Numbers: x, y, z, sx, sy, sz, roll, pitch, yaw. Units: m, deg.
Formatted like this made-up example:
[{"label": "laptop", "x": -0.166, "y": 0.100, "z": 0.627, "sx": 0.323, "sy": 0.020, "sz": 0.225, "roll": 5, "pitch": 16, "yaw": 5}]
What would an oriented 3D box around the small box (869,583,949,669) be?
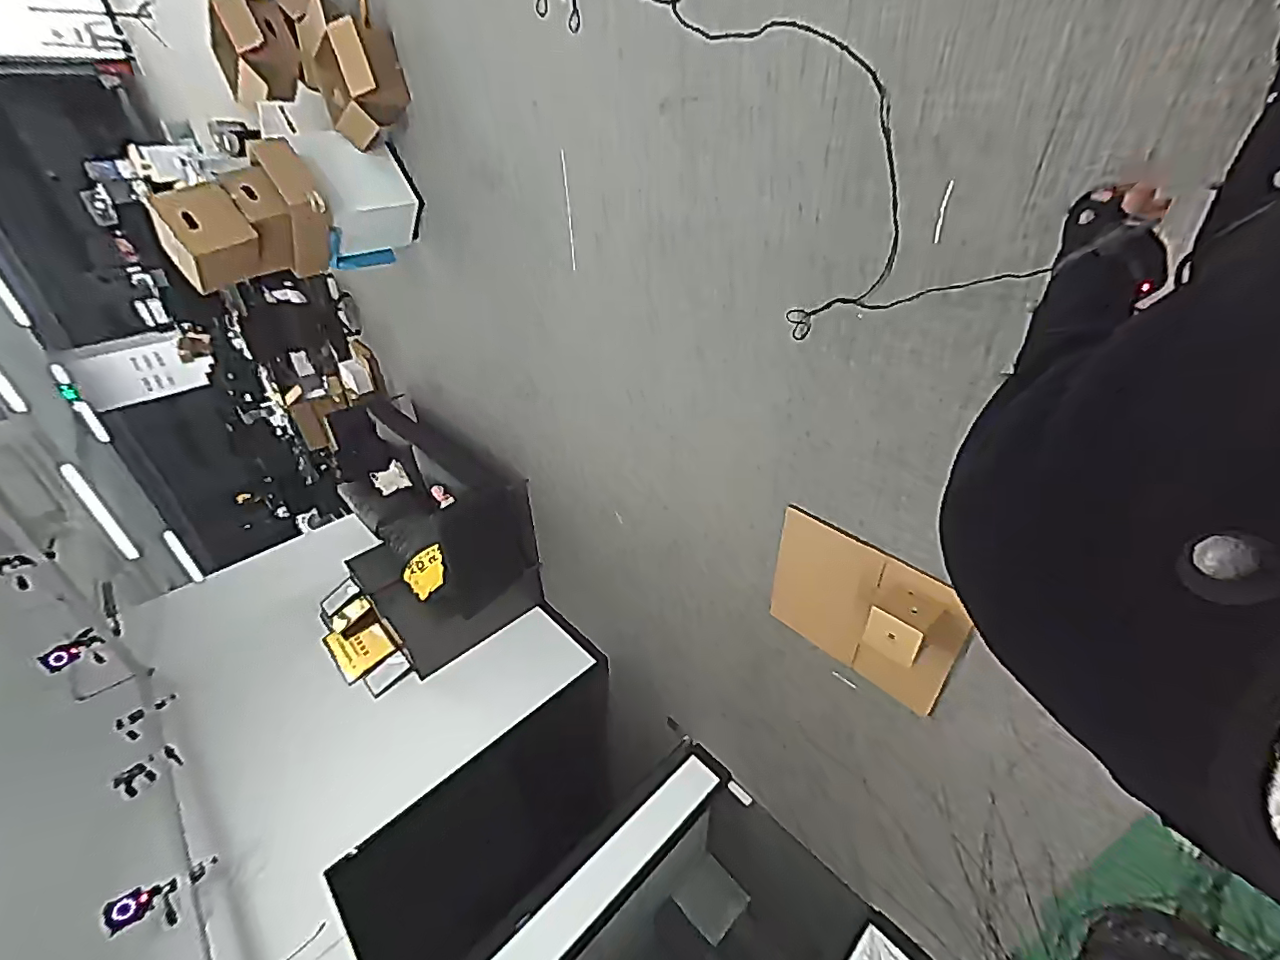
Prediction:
[{"label": "small box", "x": 0.881, "y": 0.470, "z": 1.766, "sx": 0.168, "sy": 0.176, "sz": 0.179, "roll": 29, "pitch": 136, "yaw": 39}]
